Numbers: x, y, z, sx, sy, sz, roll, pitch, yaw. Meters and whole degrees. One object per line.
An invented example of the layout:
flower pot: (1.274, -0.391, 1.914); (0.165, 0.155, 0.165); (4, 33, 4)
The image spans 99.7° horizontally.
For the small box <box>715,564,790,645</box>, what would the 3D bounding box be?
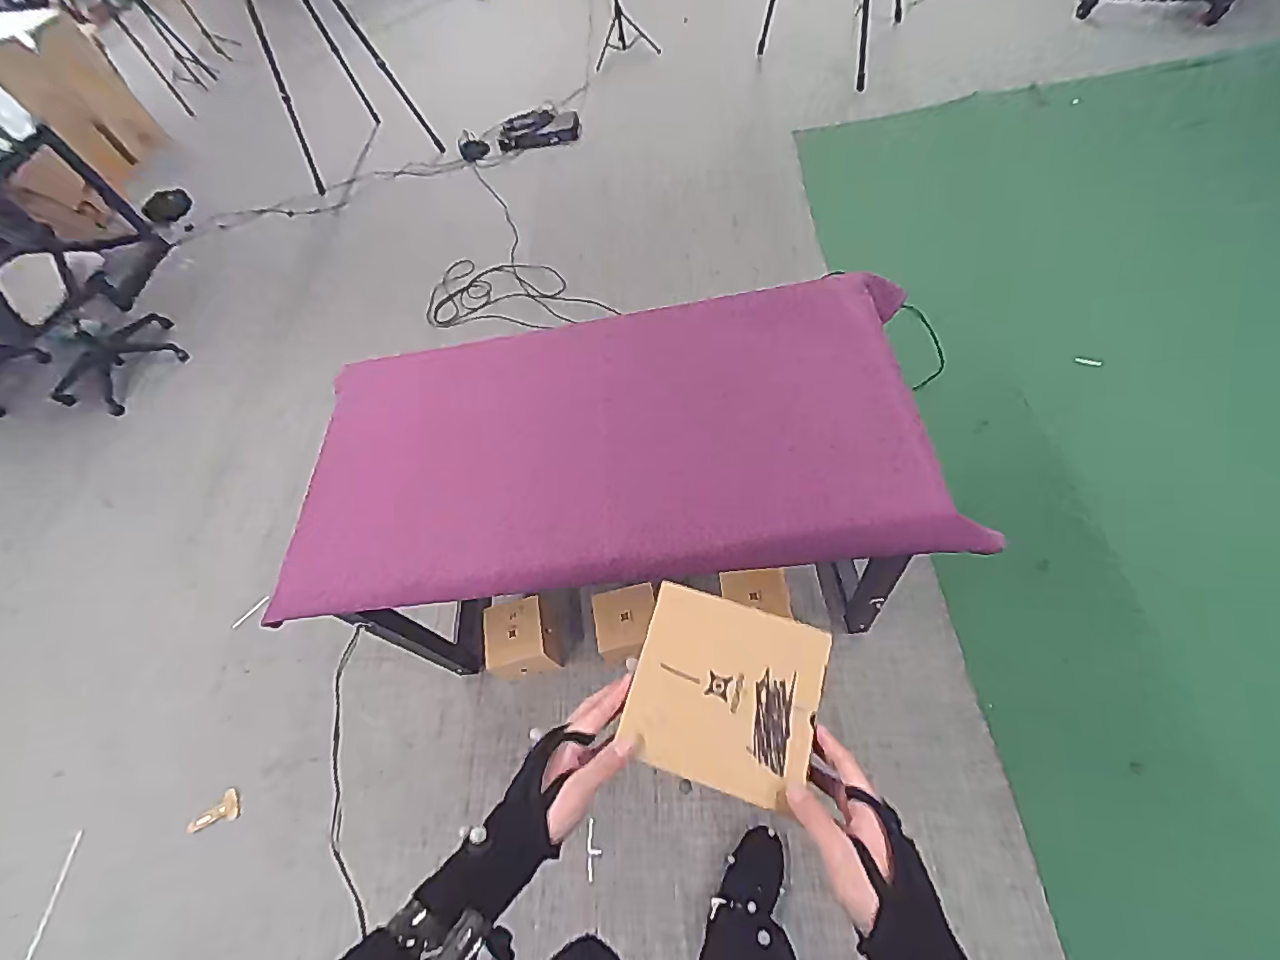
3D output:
small box: (0.306, 0.345, 1.481); (0.179, 0.176, 0.168); (-7, 57, 6)

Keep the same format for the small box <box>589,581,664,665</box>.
small box: (-0.033, 0.403, 1.511); (0.179, 0.176, 0.168); (-13, 56, 4)

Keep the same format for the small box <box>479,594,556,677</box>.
small box: (-0.345, 0.450, 1.542); (0.168, 0.176, 0.179); (-15, 57, 2)
